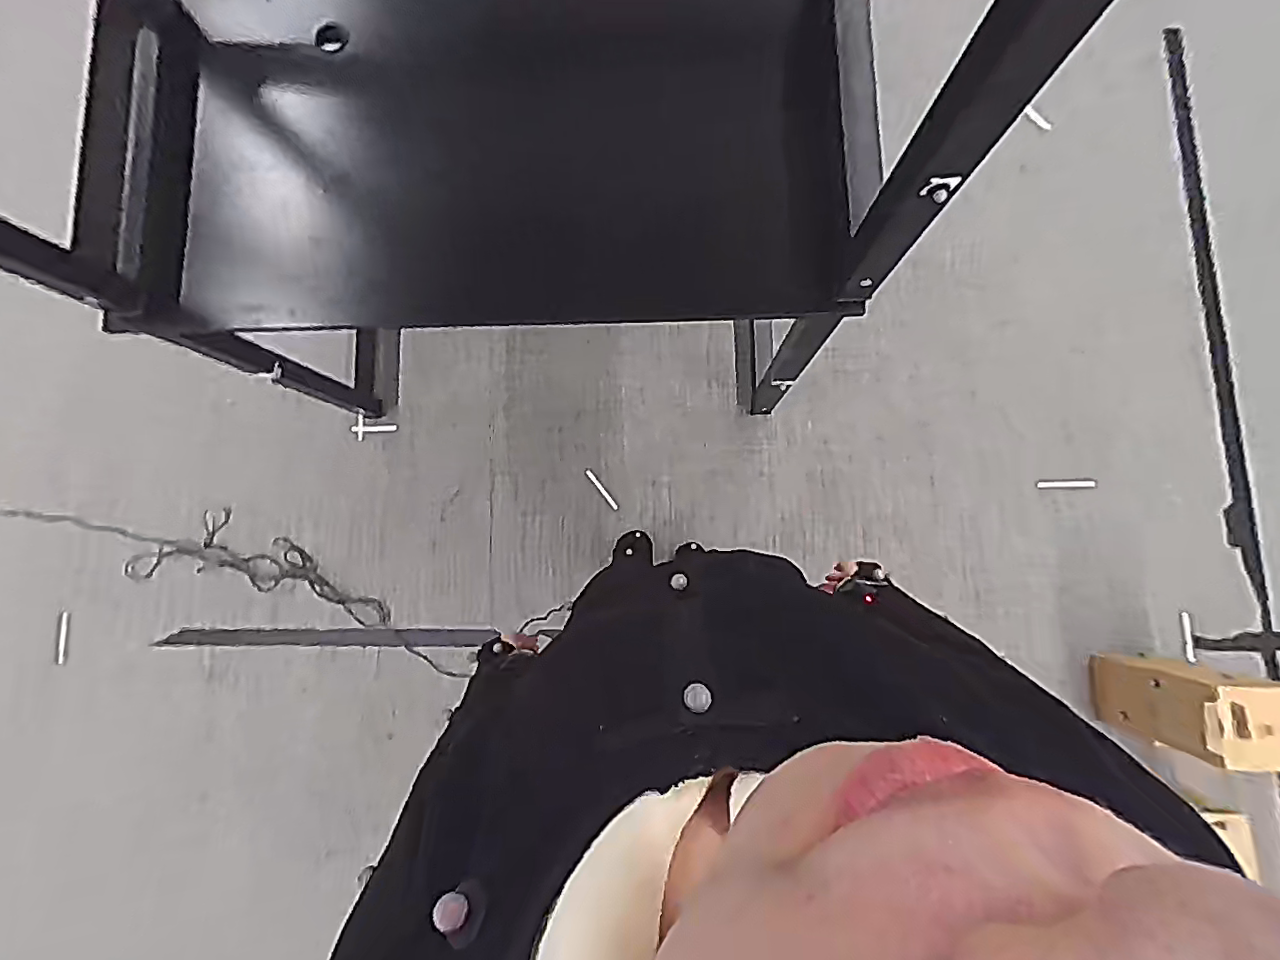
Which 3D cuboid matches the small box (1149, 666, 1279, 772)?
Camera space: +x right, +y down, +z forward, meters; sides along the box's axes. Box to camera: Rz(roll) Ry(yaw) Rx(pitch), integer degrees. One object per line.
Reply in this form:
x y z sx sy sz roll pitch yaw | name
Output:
1.249 0.507 1.164 0.179 0.176 0.168 0 85 2 | small box

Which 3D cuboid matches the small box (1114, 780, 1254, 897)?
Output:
1.288 0.849 1.293 0.168 0.176 0.179 -1 85 3 | small box

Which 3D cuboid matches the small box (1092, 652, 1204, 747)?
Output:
1.261 0.531 1.325 0.168 0.176 0.179 -3 84 3 | small box
